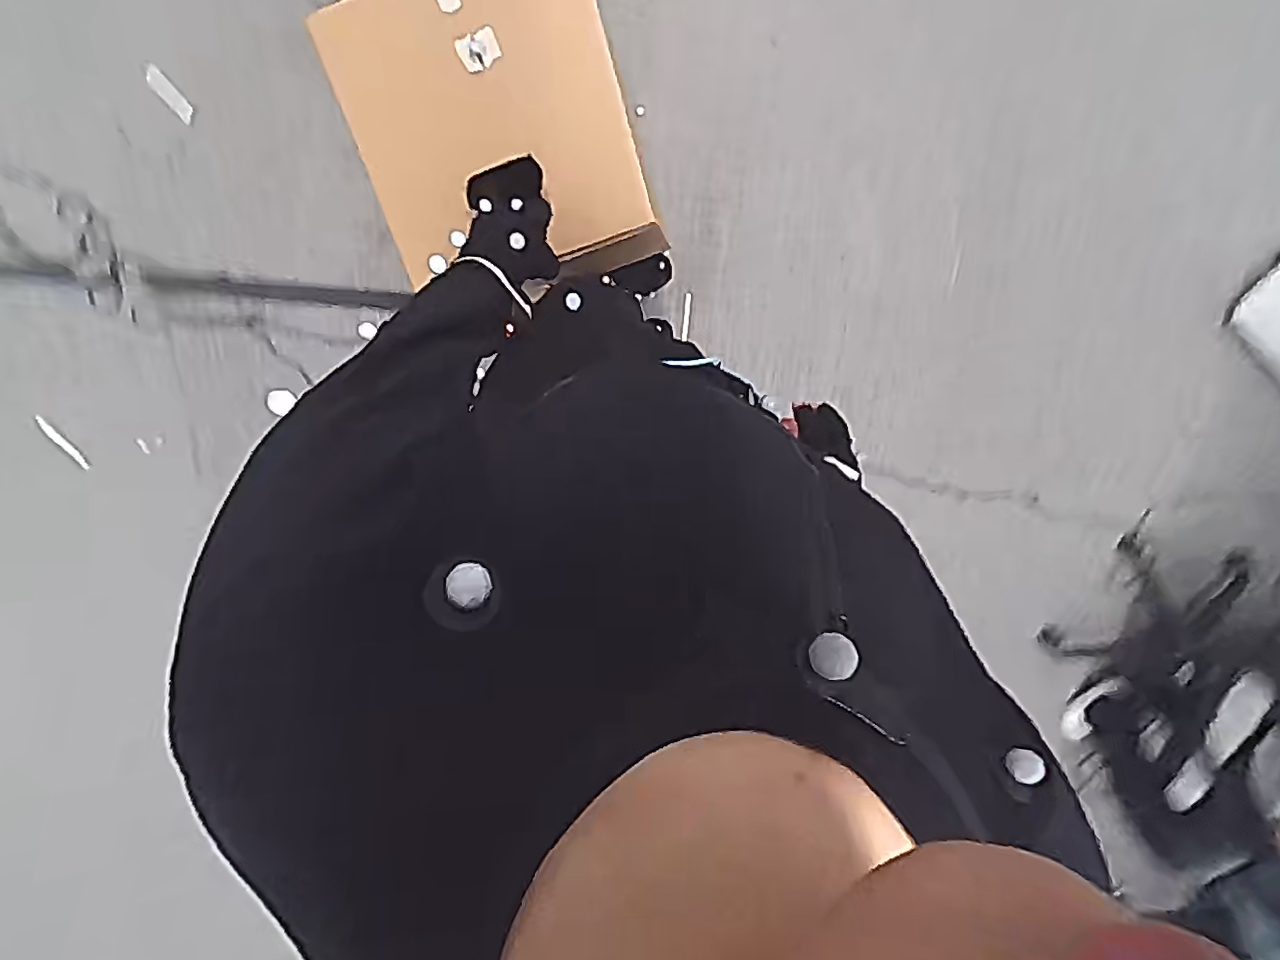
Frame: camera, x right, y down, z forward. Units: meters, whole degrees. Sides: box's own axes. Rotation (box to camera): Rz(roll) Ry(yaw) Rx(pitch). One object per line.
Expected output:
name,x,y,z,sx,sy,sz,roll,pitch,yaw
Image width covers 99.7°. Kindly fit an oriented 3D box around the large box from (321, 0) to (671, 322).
large box,-0.155,-0.449,0.800,0.320,0.408,0.320,-15,109,11
